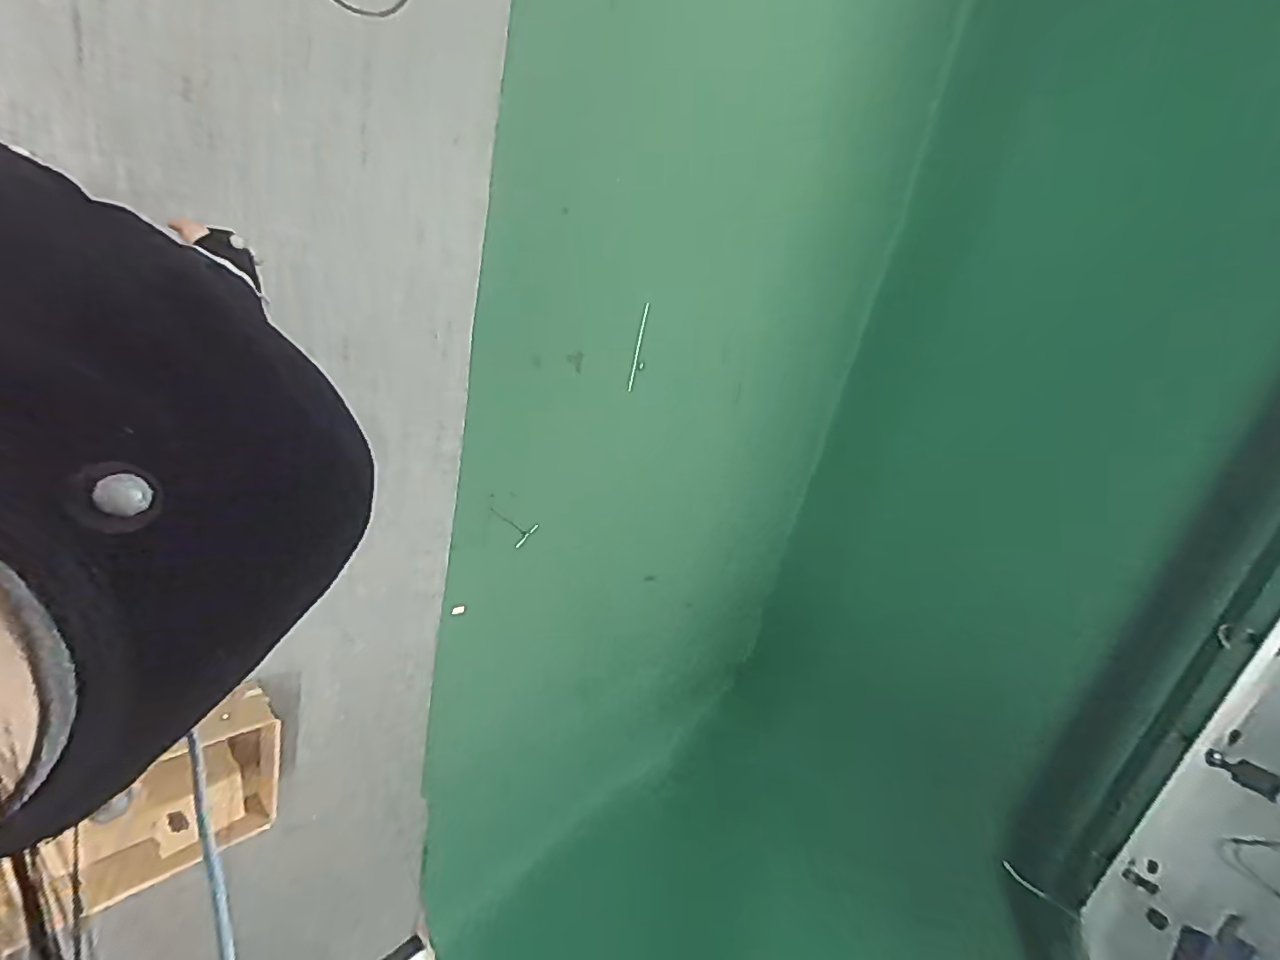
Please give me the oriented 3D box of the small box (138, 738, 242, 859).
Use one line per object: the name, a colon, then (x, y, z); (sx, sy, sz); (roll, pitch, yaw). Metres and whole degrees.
small box: (-1.177, 0.821, 1.412); (0.179, 0.176, 0.168); (-14, 122, -51)
